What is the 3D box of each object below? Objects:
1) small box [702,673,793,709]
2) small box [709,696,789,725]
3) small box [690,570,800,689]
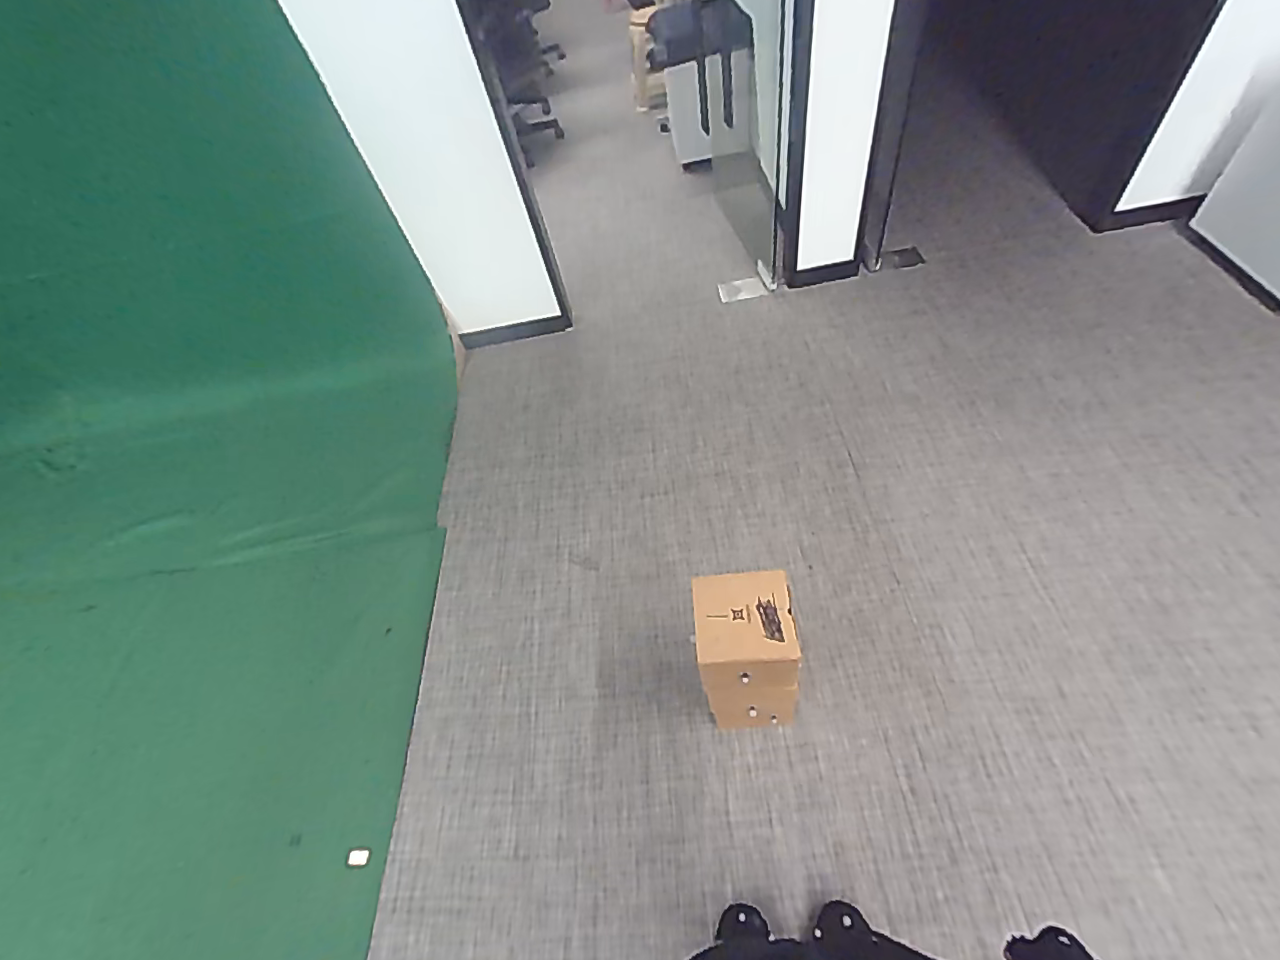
[{"bbox_3d":[0.222,0.385,1.158,0.179,0.176,0.168,-4,53,8],"label":"small box"},{"bbox_3d":[0.250,0.476,1.291,0.179,0.176,0.168,-8,52,7],"label":"small box"},{"bbox_3d":[0.192,0.288,1.028,0.179,0.176,0.168,-7,53,5],"label":"small box"}]
